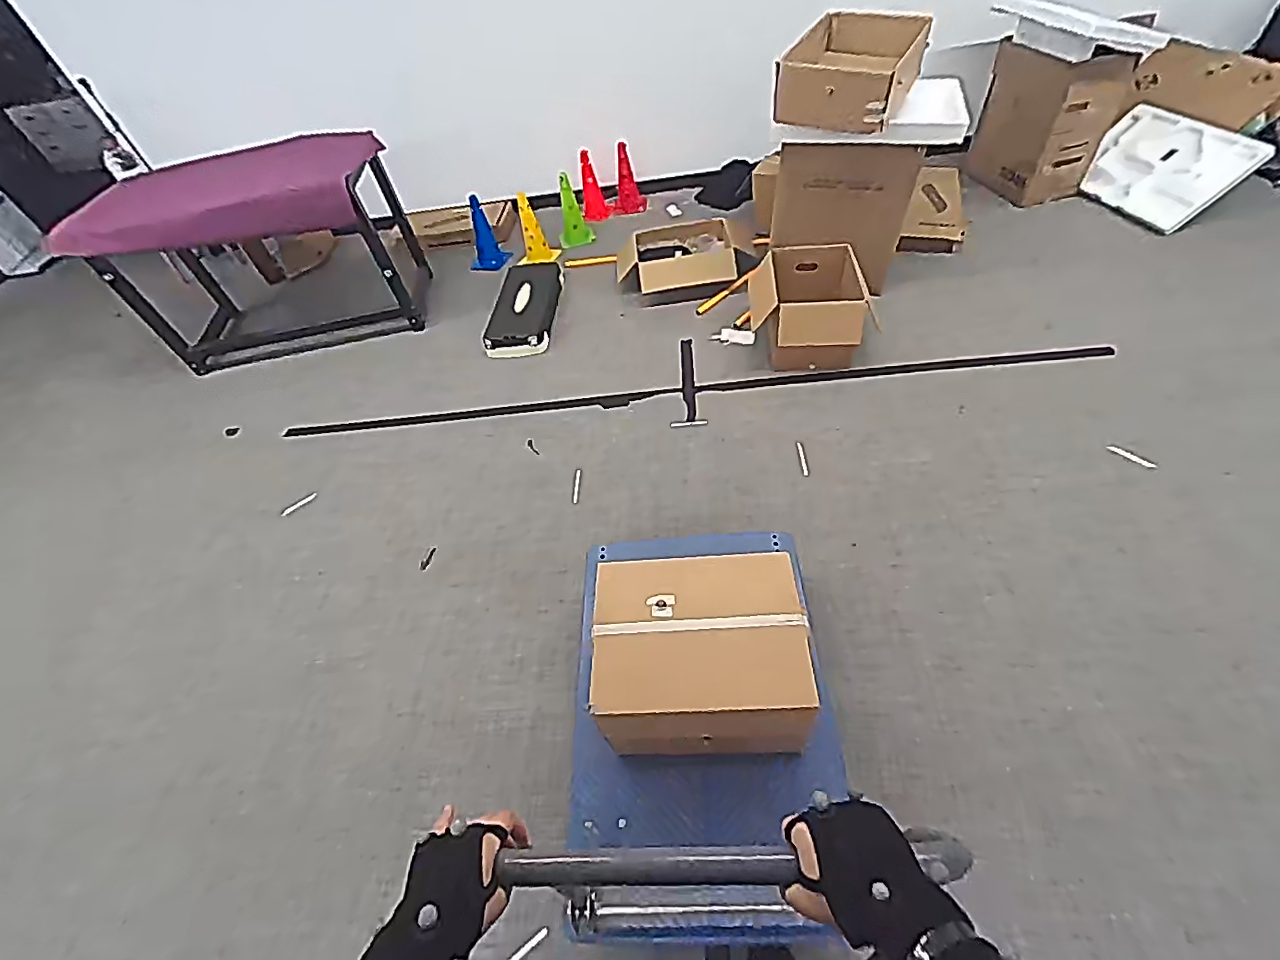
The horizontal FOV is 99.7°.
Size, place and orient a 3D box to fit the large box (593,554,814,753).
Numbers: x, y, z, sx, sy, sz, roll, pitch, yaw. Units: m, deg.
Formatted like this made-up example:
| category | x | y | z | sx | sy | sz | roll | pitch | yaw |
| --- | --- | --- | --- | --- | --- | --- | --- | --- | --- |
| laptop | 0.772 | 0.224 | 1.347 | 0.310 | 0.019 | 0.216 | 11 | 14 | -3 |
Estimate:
| category | x | y | z | sx | sy | sz | roll | pitch | yaw |
| --- | --- | --- | --- | --- | --- | --- | --- | --- | --- |
| large box | 0.130 | 0.387 | 1.175 | 0.408 | 0.320 | 0.320 | -6 | 49 | 6 |
